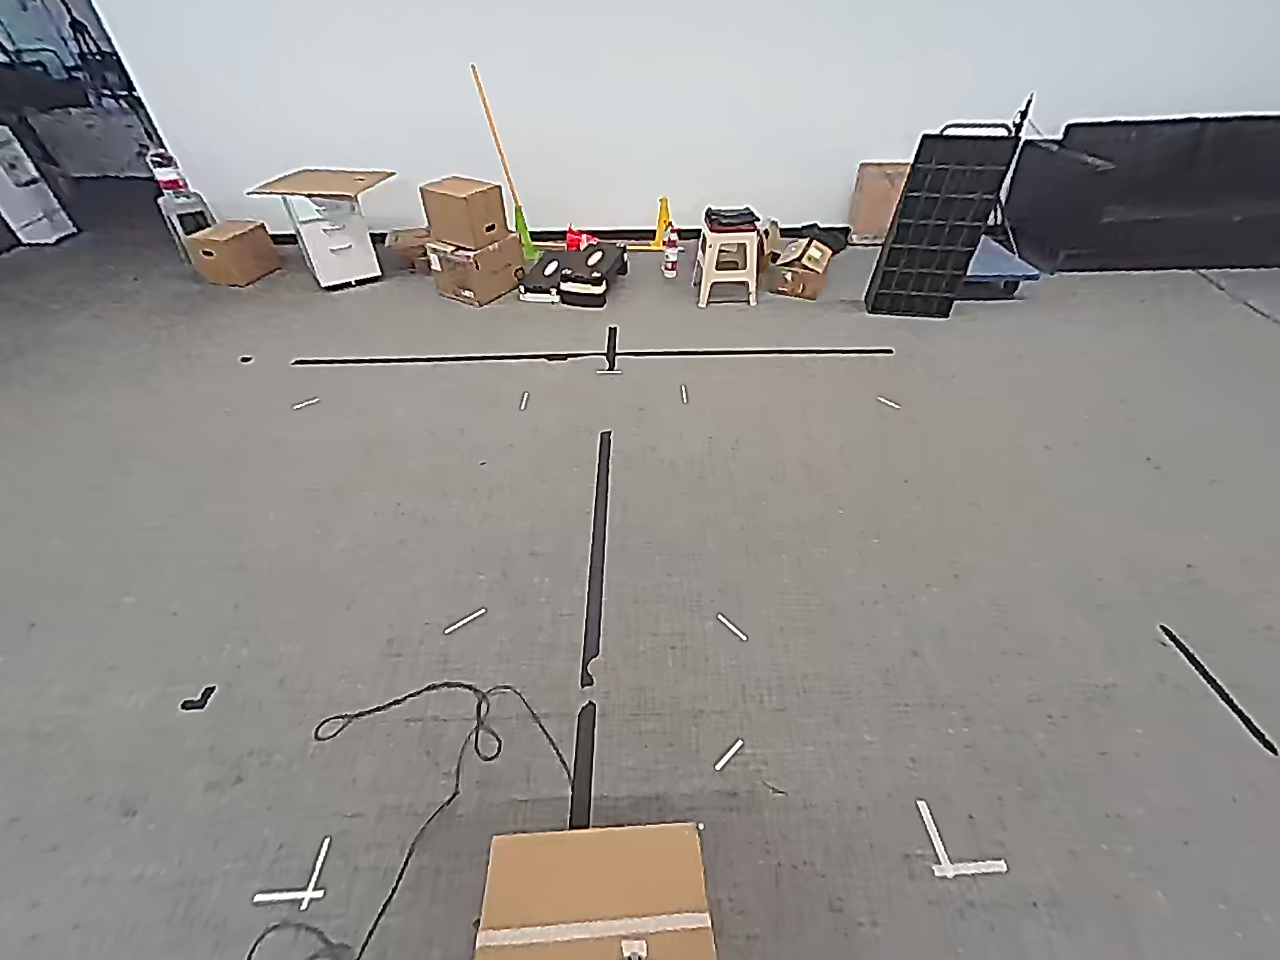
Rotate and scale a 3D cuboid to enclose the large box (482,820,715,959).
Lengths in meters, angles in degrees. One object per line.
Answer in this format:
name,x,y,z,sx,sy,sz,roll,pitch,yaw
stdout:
large box,-0.077,0.901,1.046,0.408,0.320,0.320,-2,40,-3
